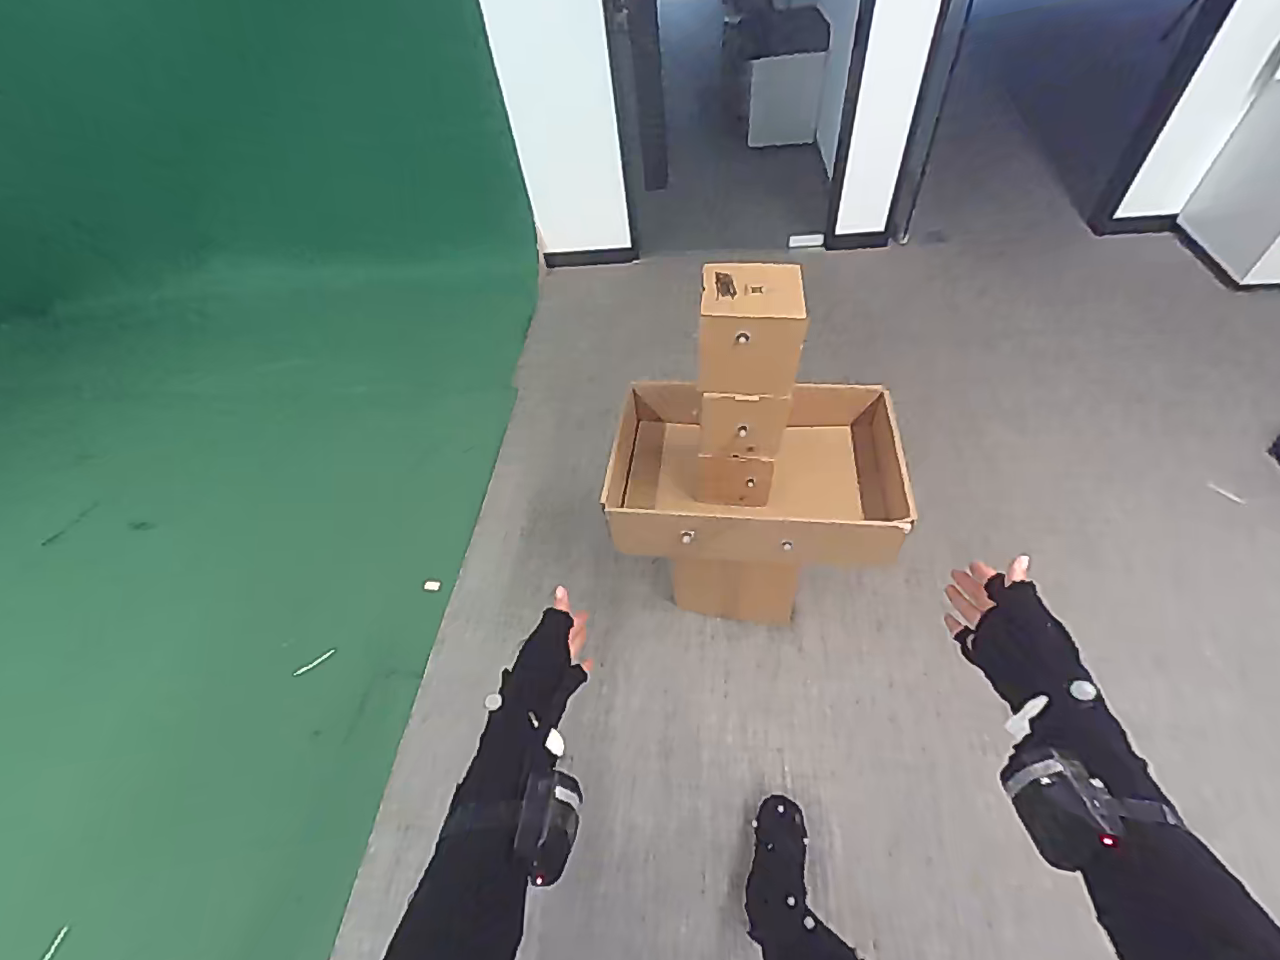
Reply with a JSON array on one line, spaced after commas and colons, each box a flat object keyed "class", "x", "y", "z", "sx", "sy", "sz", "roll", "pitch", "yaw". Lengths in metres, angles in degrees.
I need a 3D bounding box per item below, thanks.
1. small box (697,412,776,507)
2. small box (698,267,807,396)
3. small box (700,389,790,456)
[{"class": "small box", "x": 0.218, "y": -0.055, "z": 1.243, "sx": 0.168, "sy": 0.176, "sz": 0.179, "roll": 4, "pitch": 49, "yaw": 7}, {"class": "small box", "x": 0.200, "y": -0.271, "z": 0.995, "sx": 0.179, "sy": 0.176, "sz": 0.168, "roll": 4, "pitch": 51, "yaw": 6}, {"class": "small box", "x": 0.212, "y": -0.164, "z": 1.121, "sx": 0.168, "sy": 0.176, "sz": 0.179, "roll": 2, "pitch": 52, "yaw": 5}]
